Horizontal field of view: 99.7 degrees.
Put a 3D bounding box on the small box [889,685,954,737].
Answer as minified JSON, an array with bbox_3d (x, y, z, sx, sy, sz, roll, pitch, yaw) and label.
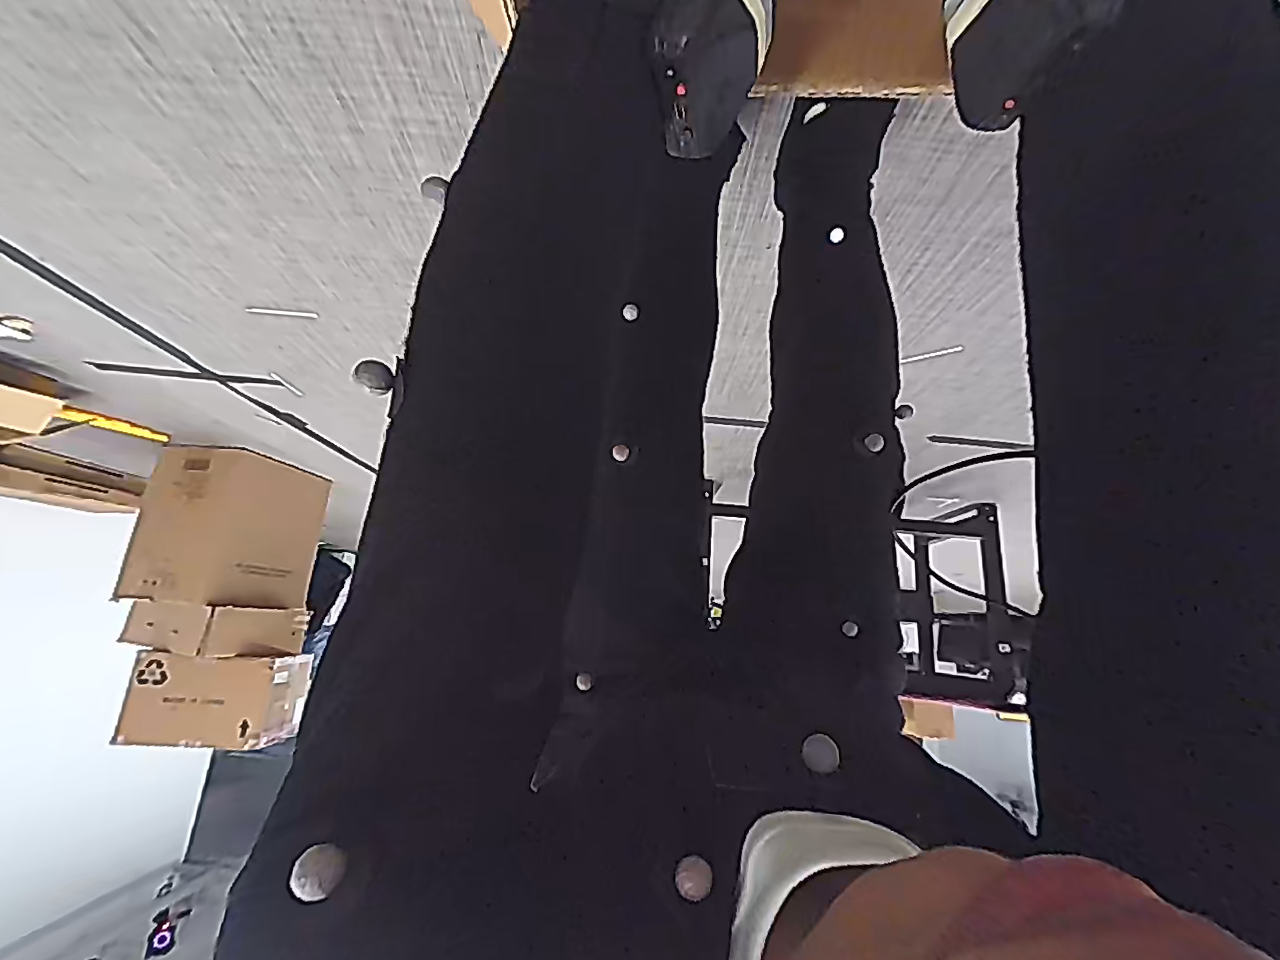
[{"bbox_3d":[1.116,0.917,2.161,0.168,0.176,0.179,7,164,-6],"label":"small box"}]
